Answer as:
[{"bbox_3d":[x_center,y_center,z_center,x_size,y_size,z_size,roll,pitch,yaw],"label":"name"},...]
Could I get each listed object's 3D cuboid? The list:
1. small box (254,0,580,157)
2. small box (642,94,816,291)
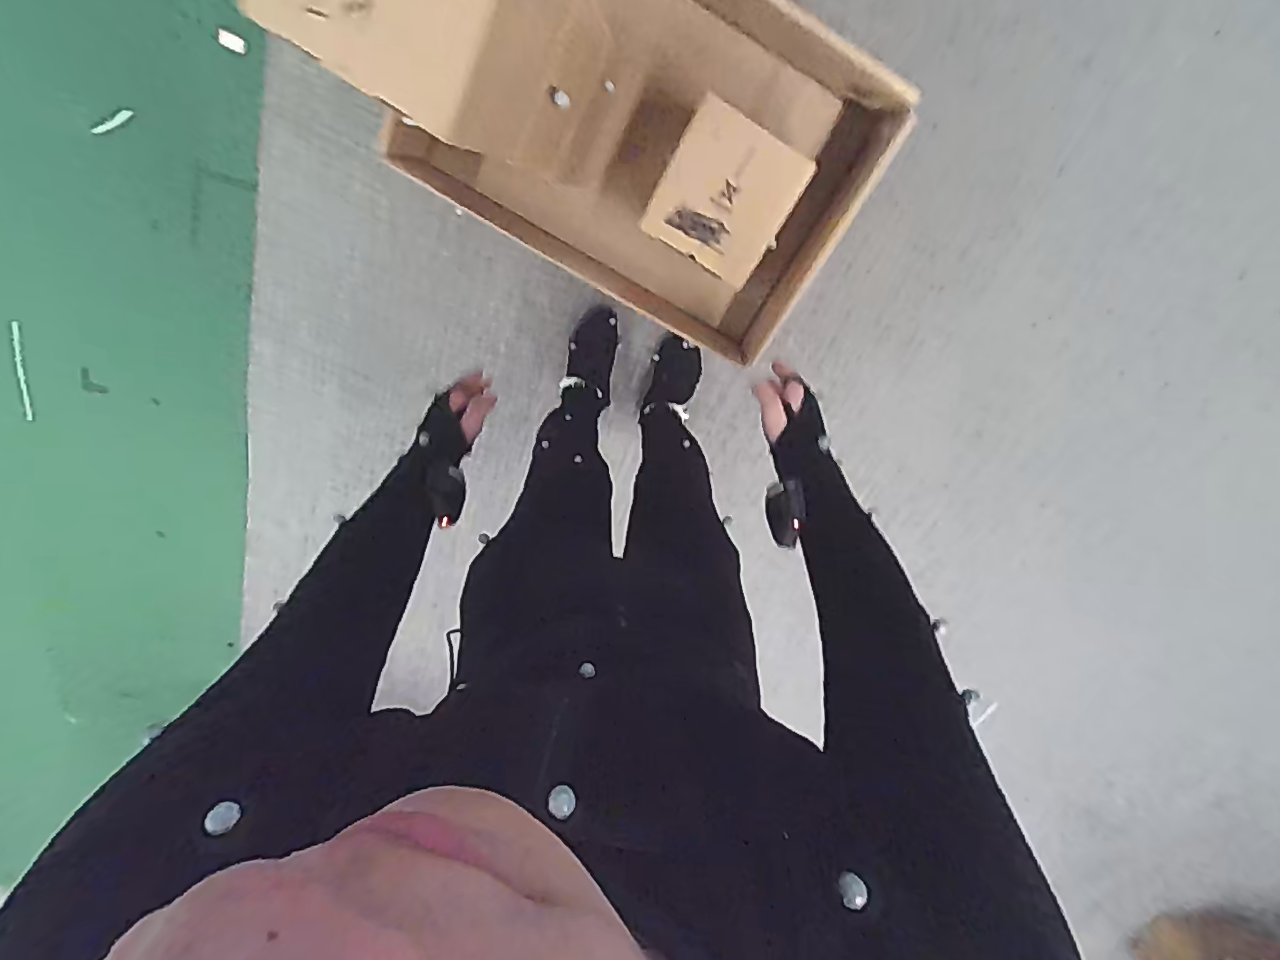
[{"bbox_3d":[-0.161,-0.399,0.441,0.168,0.176,0.179,30,115,-9],"label":"small box"},{"bbox_3d":[0.122,-0.401,0.777,0.168,0.176,0.179,29,115,-9],"label":"small box"}]
